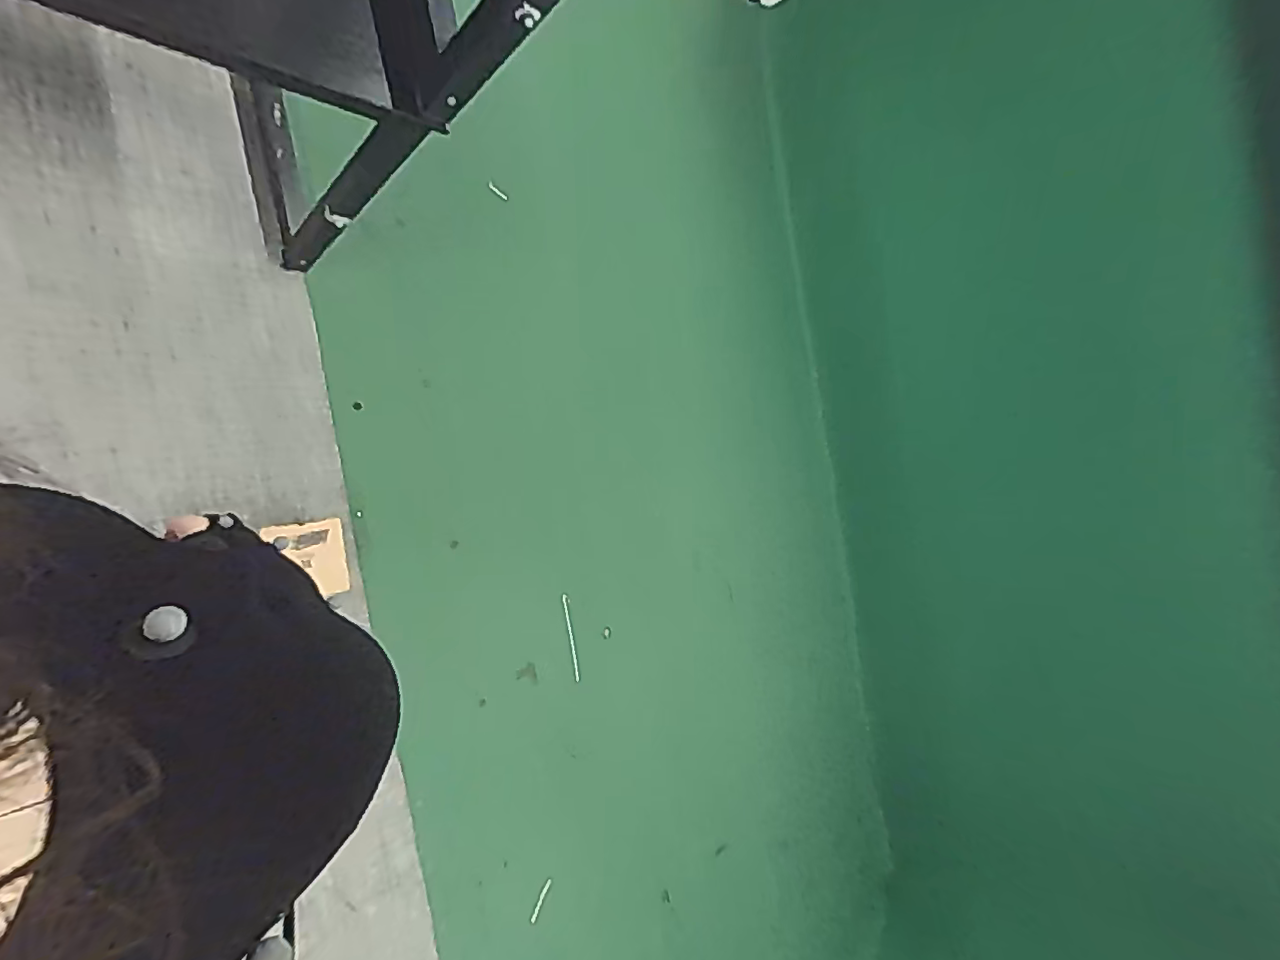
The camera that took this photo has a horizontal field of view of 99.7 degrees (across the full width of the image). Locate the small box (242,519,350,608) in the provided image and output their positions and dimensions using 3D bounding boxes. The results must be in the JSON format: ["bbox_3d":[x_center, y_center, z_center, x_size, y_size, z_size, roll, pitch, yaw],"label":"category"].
[{"bbox_3d":[-0.806,0.191,1.264,0.168,0.176,0.179,-7,91,-48],"label":"small box"}]
